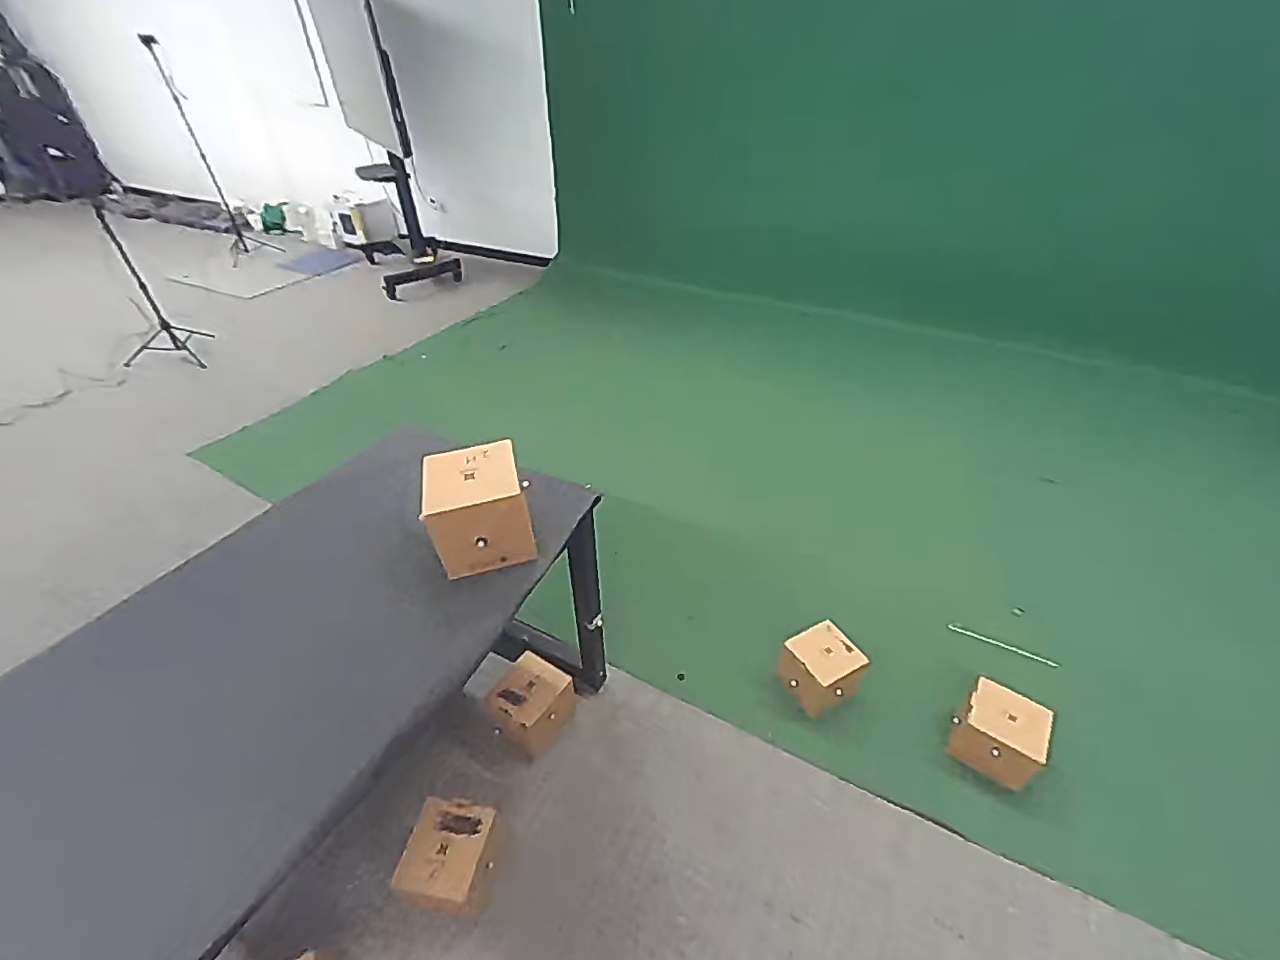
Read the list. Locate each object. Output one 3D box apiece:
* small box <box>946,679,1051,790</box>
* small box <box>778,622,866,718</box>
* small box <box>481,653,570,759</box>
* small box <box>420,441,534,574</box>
[{"bbox_3d":[0.938,0.673,1.425,0.179,0.176,0.168,26,46,26],"label":"small box"},{"bbox_3d":[0.519,0.554,1.571,0.179,0.176,0.168,-19,42,-22],"label":"small box"},{"bbox_3d":[-0.303,0.620,1.478,0.168,0.176,0.179,23,43,24],"label":"small box"},{"bbox_3d":[-0.301,0.055,1.011,0.168,0.176,0.179,-12,40,-11],"label":"small box"}]
